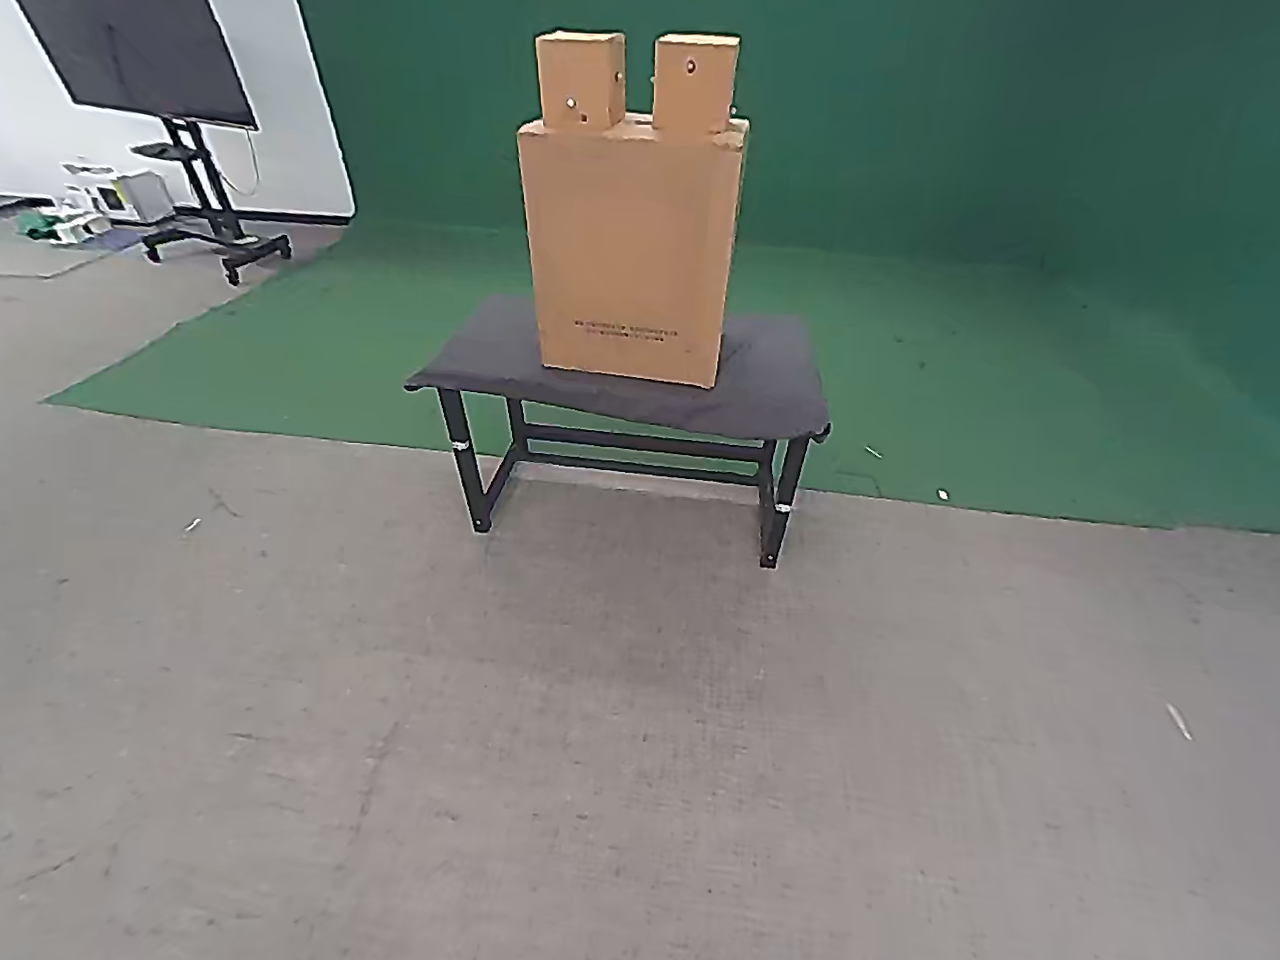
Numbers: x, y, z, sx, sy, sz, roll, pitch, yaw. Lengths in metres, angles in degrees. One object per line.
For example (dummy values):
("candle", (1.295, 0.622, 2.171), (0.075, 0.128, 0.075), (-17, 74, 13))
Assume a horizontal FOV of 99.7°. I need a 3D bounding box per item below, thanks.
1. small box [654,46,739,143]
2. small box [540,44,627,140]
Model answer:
("small box", (0.134, -0.926, 1.300), (0.179, 0.176, 0.168), (10, 44, 6))
("small box", (-0.130, -0.946, 1.316), (0.168, 0.176, 0.179), (8, 44, 9))
